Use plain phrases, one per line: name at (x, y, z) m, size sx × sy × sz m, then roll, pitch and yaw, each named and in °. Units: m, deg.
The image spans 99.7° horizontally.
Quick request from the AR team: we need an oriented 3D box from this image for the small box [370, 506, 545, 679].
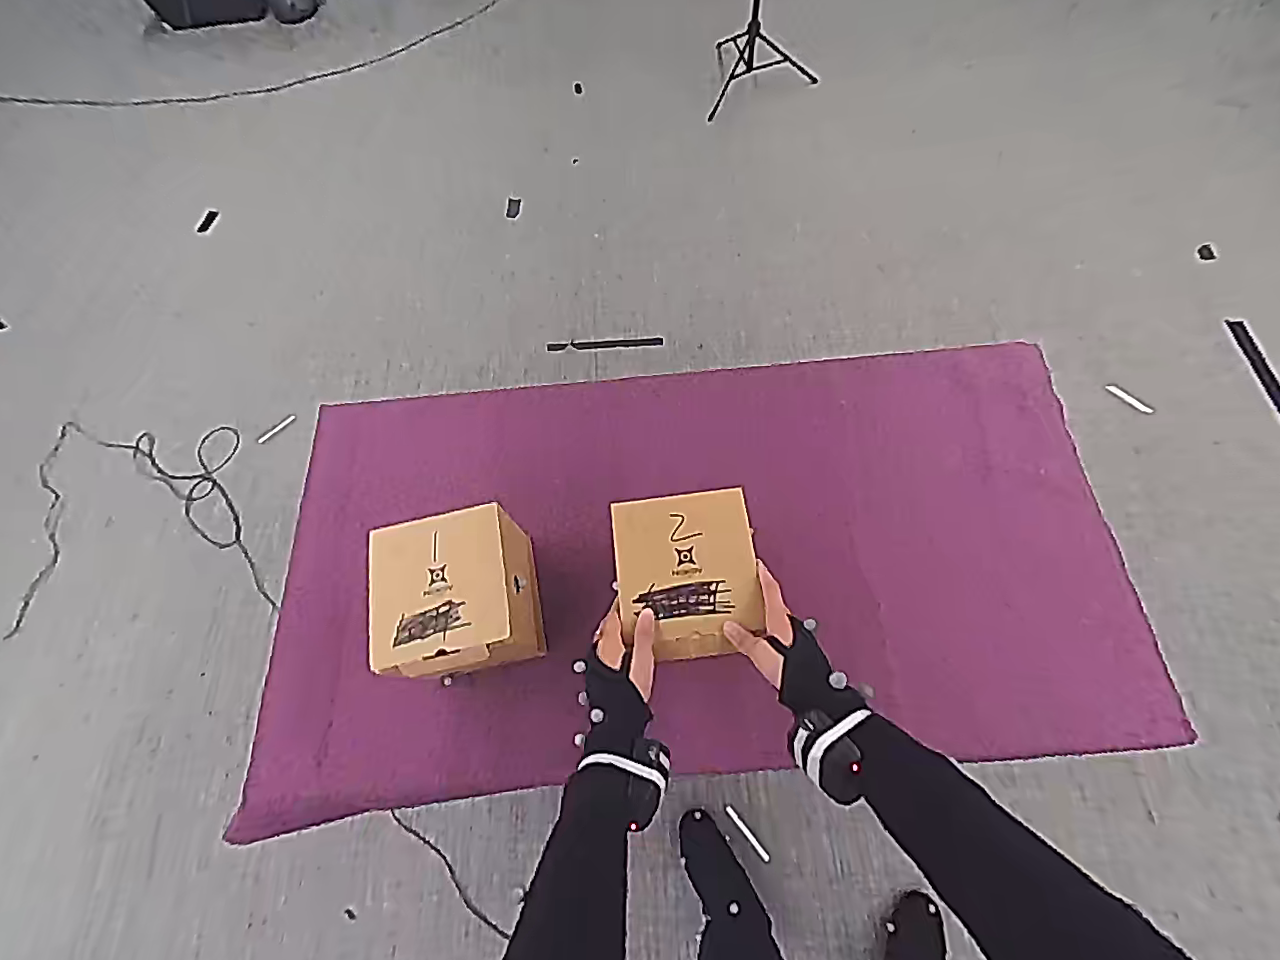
small box at (-0.231, 0.157, 0.711) m, size 0.168 × 0.176 × 0.179 m, roll -13°, pitch 66°, yaw -1°
